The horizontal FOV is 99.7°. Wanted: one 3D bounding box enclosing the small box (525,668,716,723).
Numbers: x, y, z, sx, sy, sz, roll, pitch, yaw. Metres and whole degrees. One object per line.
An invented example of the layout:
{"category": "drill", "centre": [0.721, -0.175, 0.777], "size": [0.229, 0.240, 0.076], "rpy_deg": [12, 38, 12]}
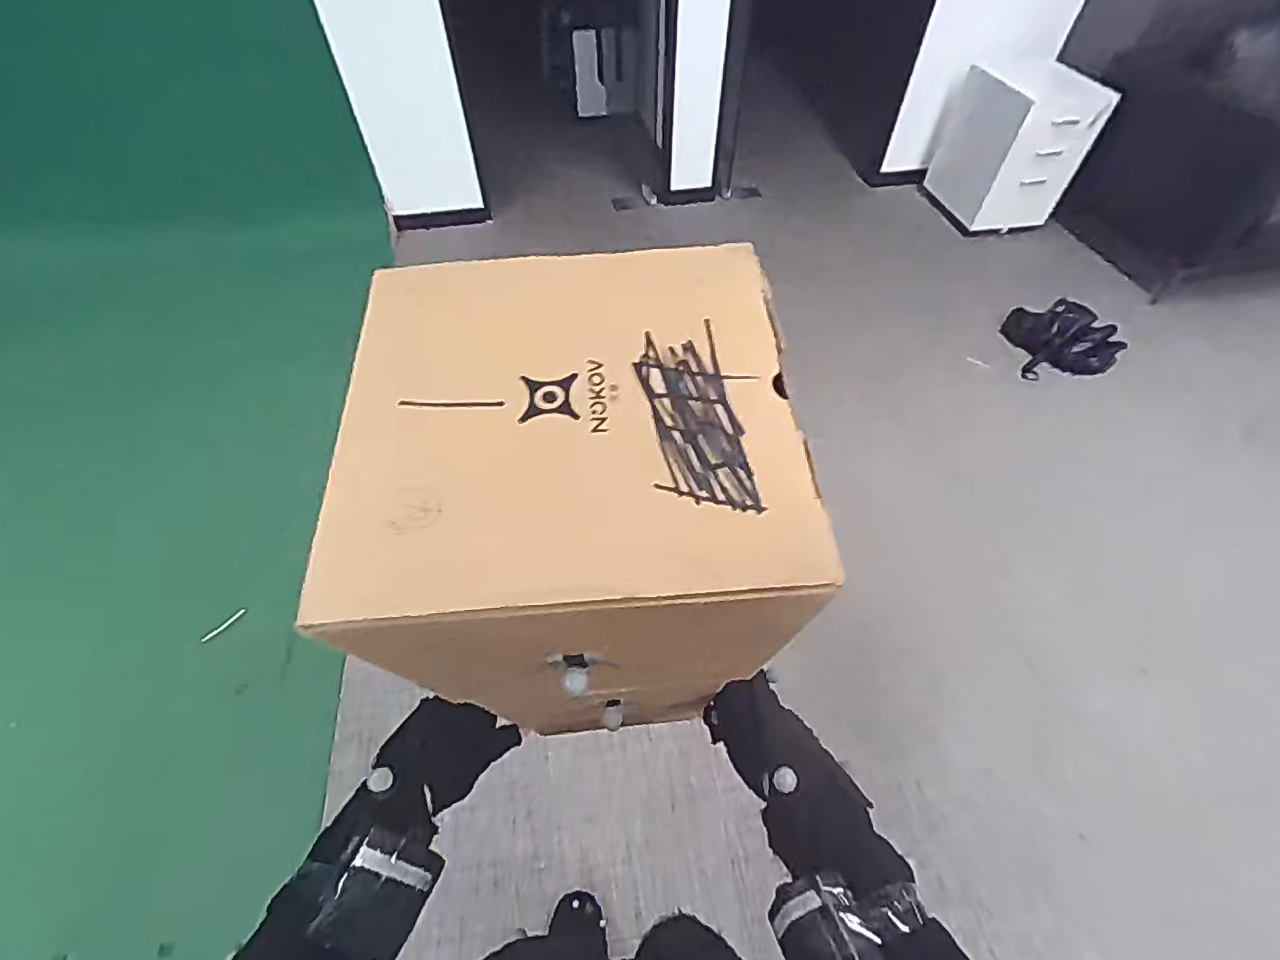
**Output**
{"category": "small box", "centre": [-0.026, 0.161, 0.588], "size": [0.179, 0.176, 0.168], "rpy_deg": [-5, 61, -5]}

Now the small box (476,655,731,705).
{"category": "small box", "centre": [-0.028, 0.082, 0.444], "size": [0.168, 0.176, 0.179], "rpy_deg": [-4, 61, -3]}

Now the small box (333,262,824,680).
{"category": "small box", "centre": [-0.025, 0.007, 0.297], "size": [0.179, 0.176, 0.168], "rpy_deg": [-4, 60, -2]}
